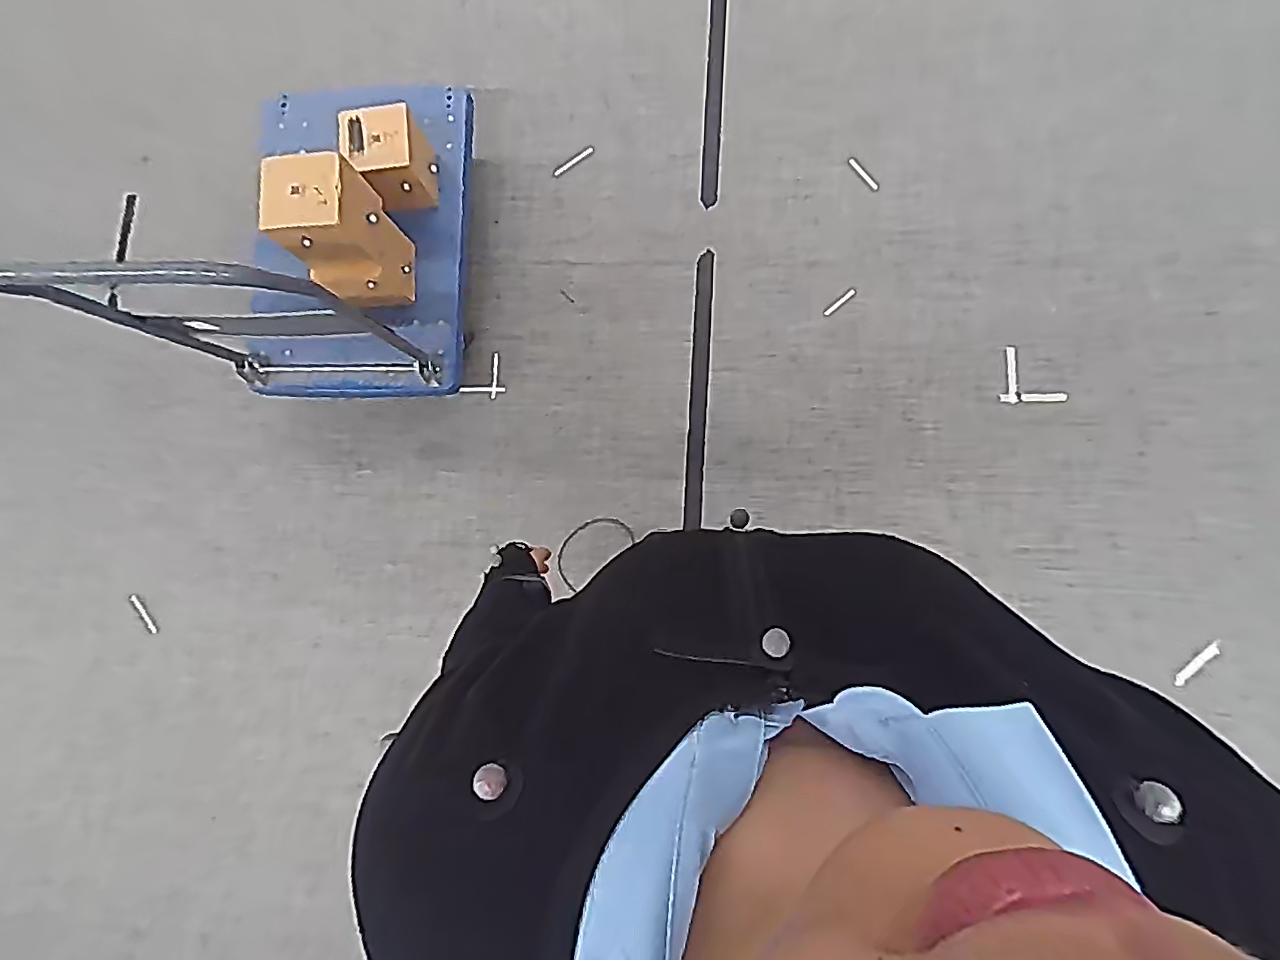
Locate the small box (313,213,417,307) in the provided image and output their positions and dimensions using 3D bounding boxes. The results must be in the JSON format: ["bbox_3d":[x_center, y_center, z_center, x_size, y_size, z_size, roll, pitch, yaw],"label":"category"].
[{"bbox_3d":[-0.693,-0.551,1.374,0.179,0.176,0.168,-3,84,3],"label":"small box"}]

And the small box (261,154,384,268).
[{"bbox_3d":[-0.704,-0.594,1.213,0.179,0.176,0.168,-2,84,3],"label":"small box"}]
